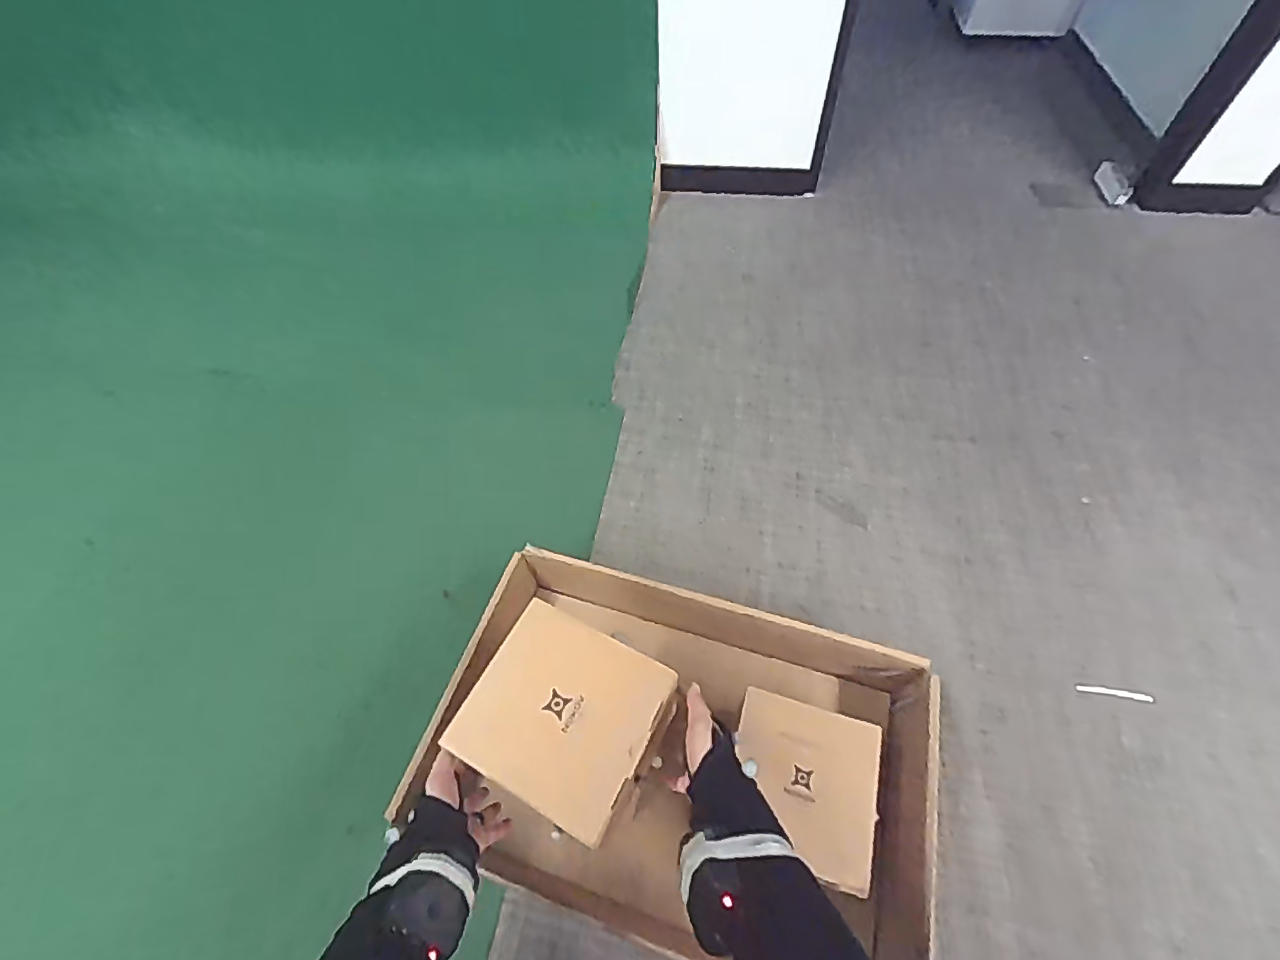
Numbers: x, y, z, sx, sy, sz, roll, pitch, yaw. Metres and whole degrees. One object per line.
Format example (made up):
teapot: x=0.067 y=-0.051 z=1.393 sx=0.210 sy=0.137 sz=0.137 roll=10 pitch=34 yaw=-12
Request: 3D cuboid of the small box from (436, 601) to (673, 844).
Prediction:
small box: x=-0.080 y=0.267 z=0.589 sx=0.179 sy=0.176 sz=0.168 roll=24 pitch=60 yaw=15
